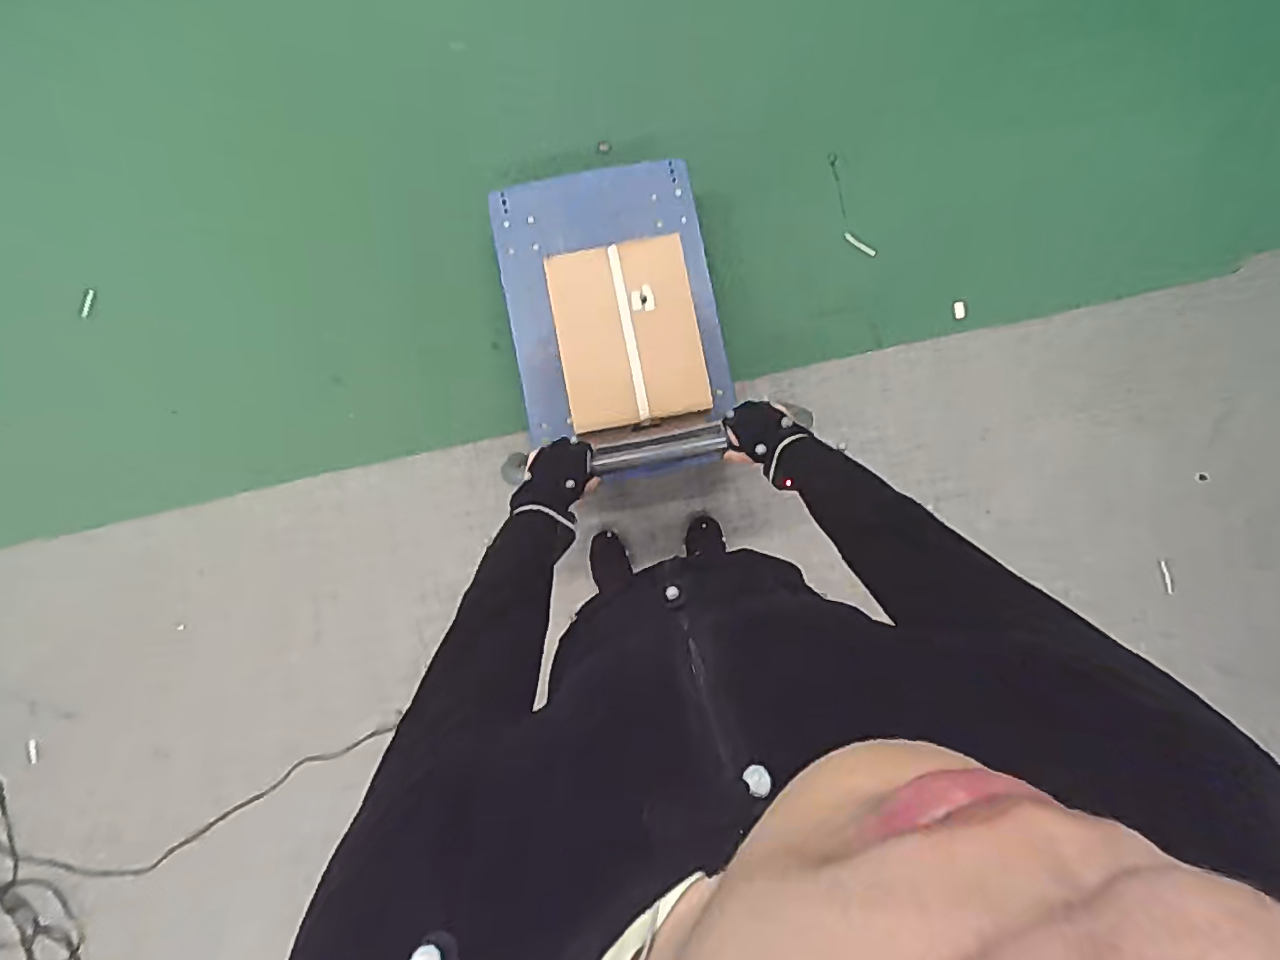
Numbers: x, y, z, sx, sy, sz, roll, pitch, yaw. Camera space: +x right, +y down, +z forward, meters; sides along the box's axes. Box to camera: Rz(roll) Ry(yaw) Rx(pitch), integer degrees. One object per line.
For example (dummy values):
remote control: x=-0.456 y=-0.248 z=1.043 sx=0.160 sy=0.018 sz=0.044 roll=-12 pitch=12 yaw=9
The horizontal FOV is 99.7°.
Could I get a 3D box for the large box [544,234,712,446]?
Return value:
large box: x=-0.027 y=-0.323 z=1.351 sx=0.320 sy=0.320 sz=0.408 roll=-11 pitch=87 yaw=-1
